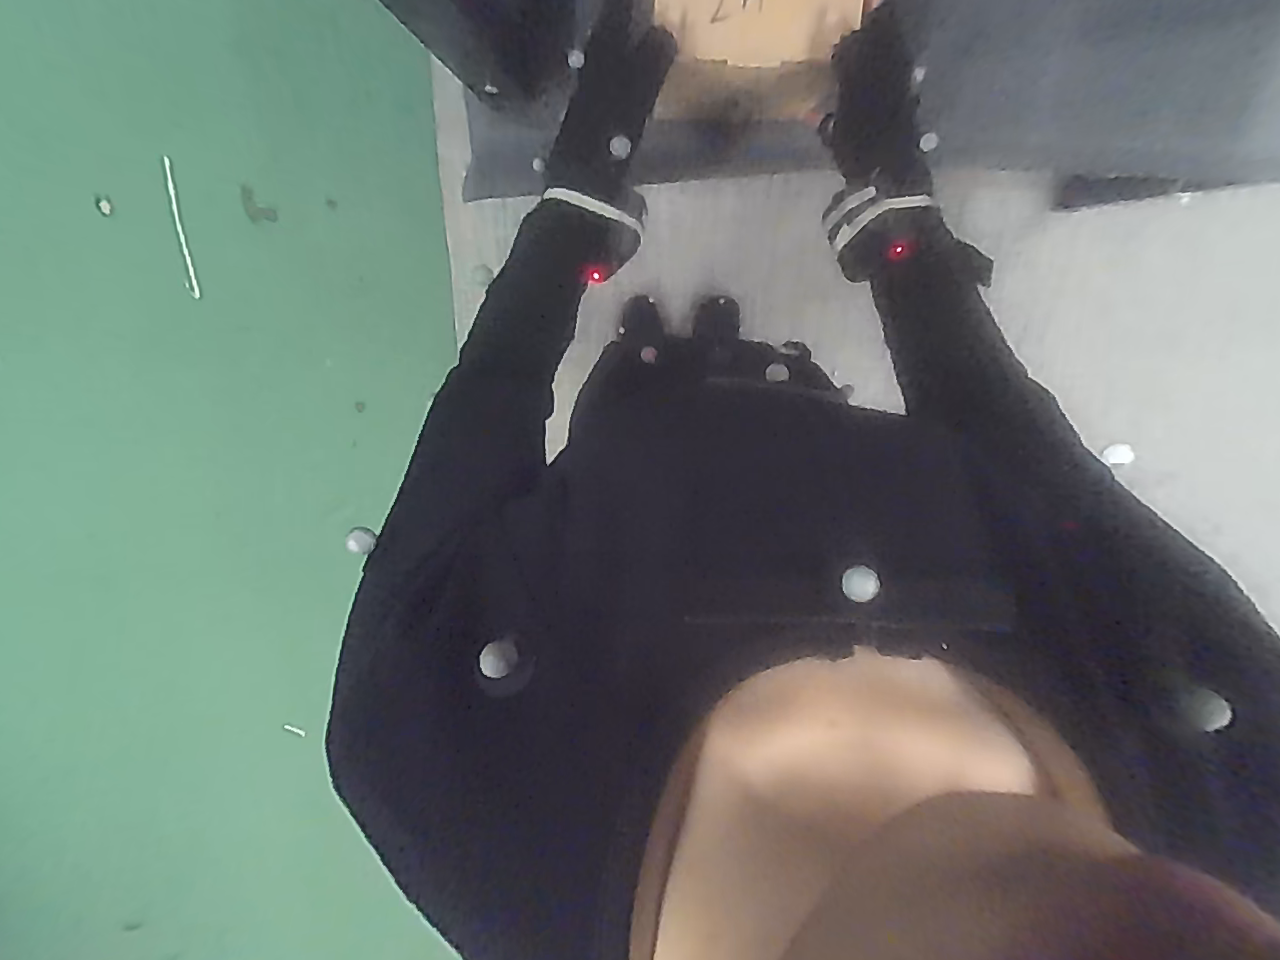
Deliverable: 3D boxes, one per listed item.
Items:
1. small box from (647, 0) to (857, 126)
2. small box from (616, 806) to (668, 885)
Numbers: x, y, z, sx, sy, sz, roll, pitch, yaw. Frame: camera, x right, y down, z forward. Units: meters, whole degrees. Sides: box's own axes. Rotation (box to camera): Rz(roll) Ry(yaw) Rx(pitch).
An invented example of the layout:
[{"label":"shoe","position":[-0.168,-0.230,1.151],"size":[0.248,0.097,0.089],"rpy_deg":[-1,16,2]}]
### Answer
[{"label":"small box","position":[0.091,-0.445,0.486],"size":[0.168,0.176,0.179],"rpy_deg":[1,110,2]},{"label":"small box","position":[0.008,1.273,1.895],"size":[0.168,0.176,0.179],"rpy_deg":[-5,110,4]}]
